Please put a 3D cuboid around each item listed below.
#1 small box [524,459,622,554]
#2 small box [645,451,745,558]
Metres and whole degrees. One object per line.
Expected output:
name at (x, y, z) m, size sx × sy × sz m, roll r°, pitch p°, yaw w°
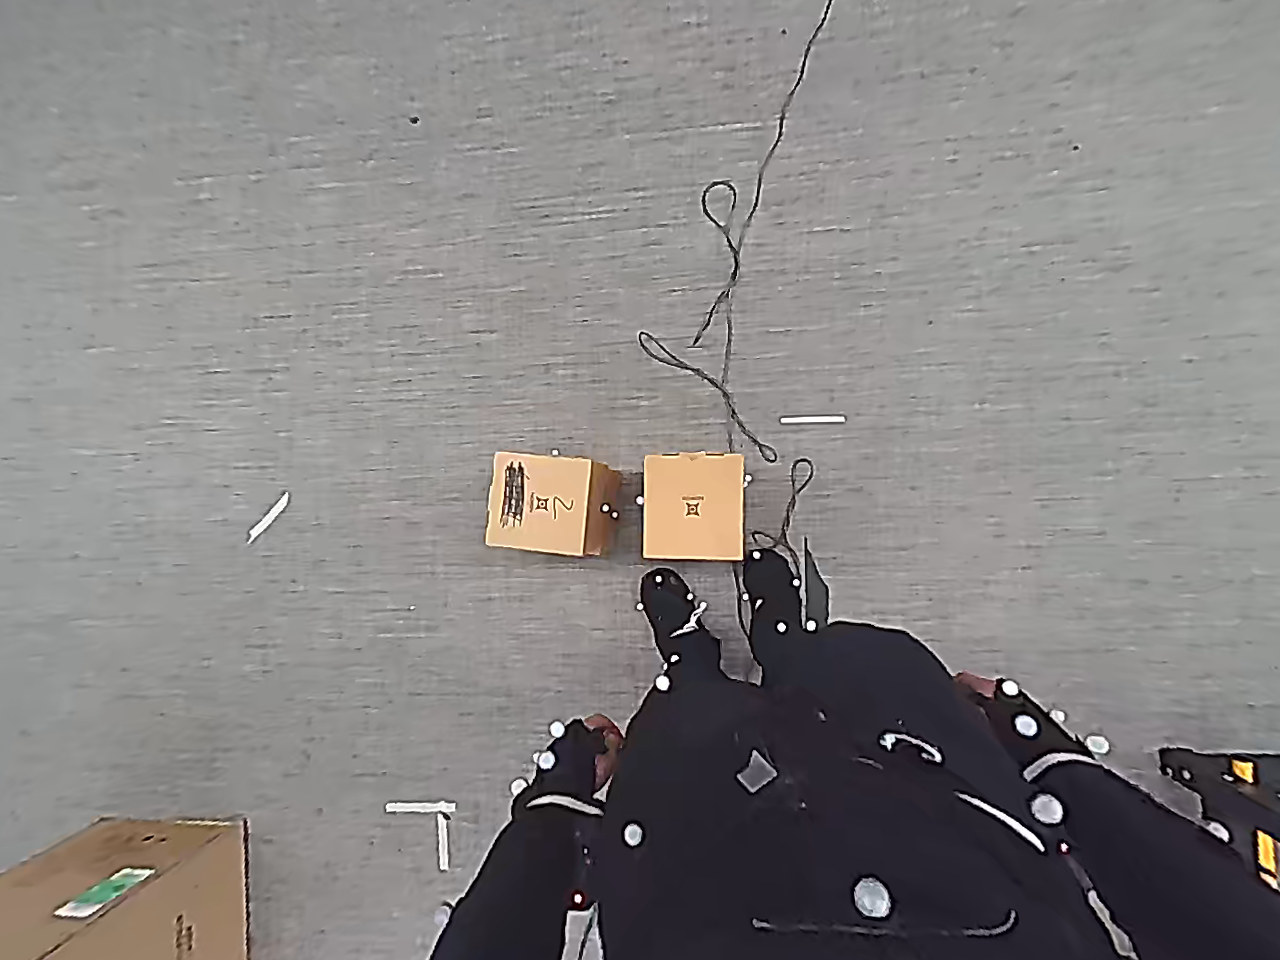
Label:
small box at (-0.136, 0.053, 1.161) m, size 0.168 × 0.176 × 0.179 m, roll 6°, pitch 90°, yaw 7°
small box at (0.102, 0.041, 0.968) m, size 0.168 × 0.176 × 0.179 m, roll 0°, pitch 88°, yaw 8°
